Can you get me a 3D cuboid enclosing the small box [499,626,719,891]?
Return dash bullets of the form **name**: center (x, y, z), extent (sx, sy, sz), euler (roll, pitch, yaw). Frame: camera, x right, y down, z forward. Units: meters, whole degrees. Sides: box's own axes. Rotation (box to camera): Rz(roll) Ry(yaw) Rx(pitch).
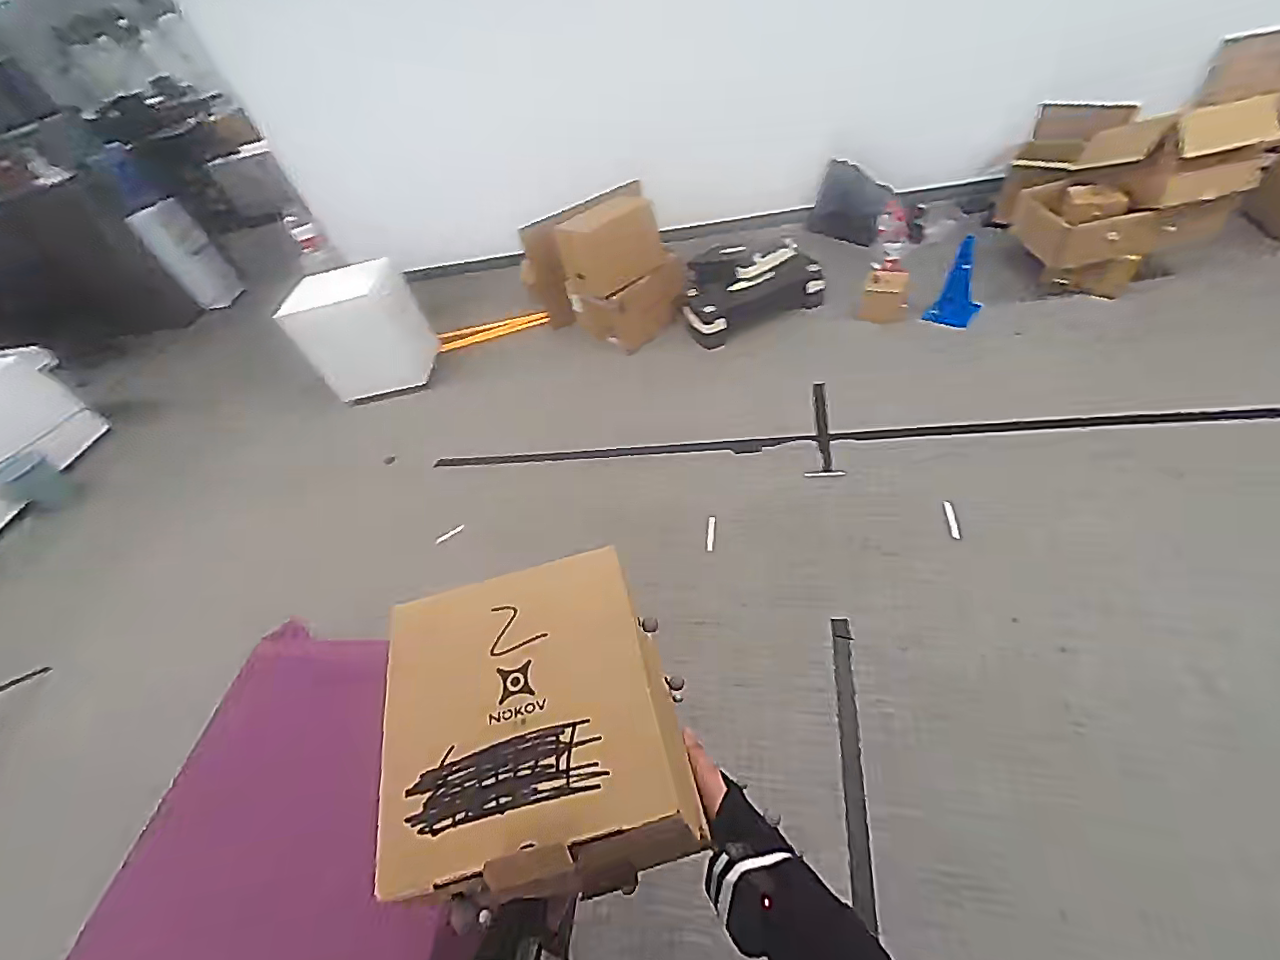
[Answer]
- **small box**: center (-0.028, 0.273, 0.525), extent (0.168, 0.176, 0.179), euler (-16, 52, -1)
